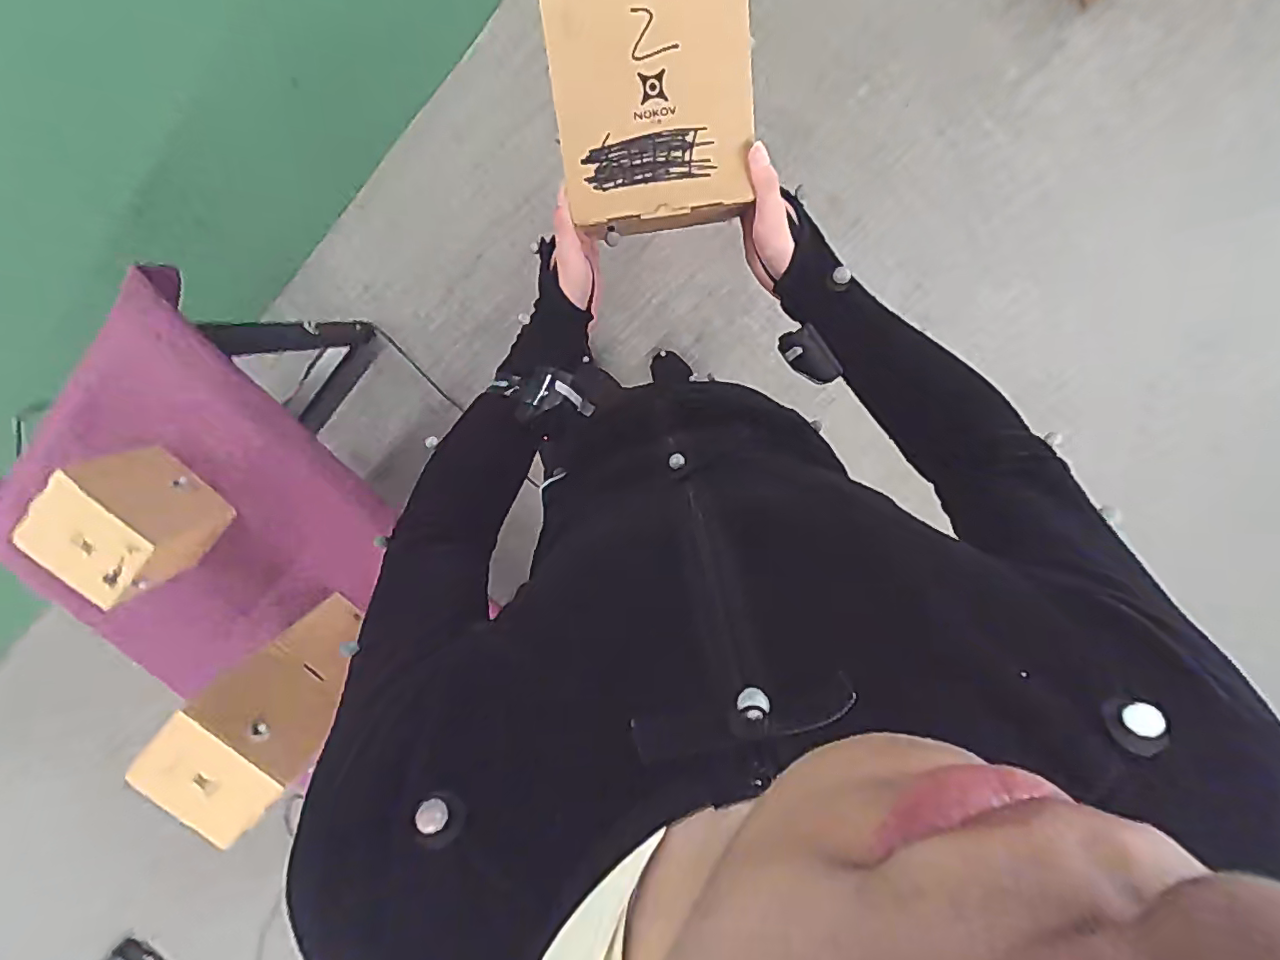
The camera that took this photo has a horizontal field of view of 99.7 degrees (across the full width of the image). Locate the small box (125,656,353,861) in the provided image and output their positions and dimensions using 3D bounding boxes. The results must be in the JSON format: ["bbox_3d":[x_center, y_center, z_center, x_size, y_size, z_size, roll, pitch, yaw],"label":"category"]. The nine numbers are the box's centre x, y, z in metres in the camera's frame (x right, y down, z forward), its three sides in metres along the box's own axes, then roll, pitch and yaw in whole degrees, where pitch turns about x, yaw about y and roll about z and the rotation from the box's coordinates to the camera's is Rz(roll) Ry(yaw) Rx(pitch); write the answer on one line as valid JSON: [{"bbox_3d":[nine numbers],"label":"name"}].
[{"bbox_3d":[-0.574,0.399,0.799,0.179,0.176,0.168,44,104,-8],"label":"small box"}]

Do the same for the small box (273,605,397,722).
[{"bbox_3d":[-0.564,0.357,0.956,0.168,0.176,0.179,43,105,-8],"label":"small box"}]

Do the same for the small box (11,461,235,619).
[{"bbox_3d":[-0.841,0.087,0.898,0.168,0.176,0.179,-43,99,14],"label":"small box"}]
